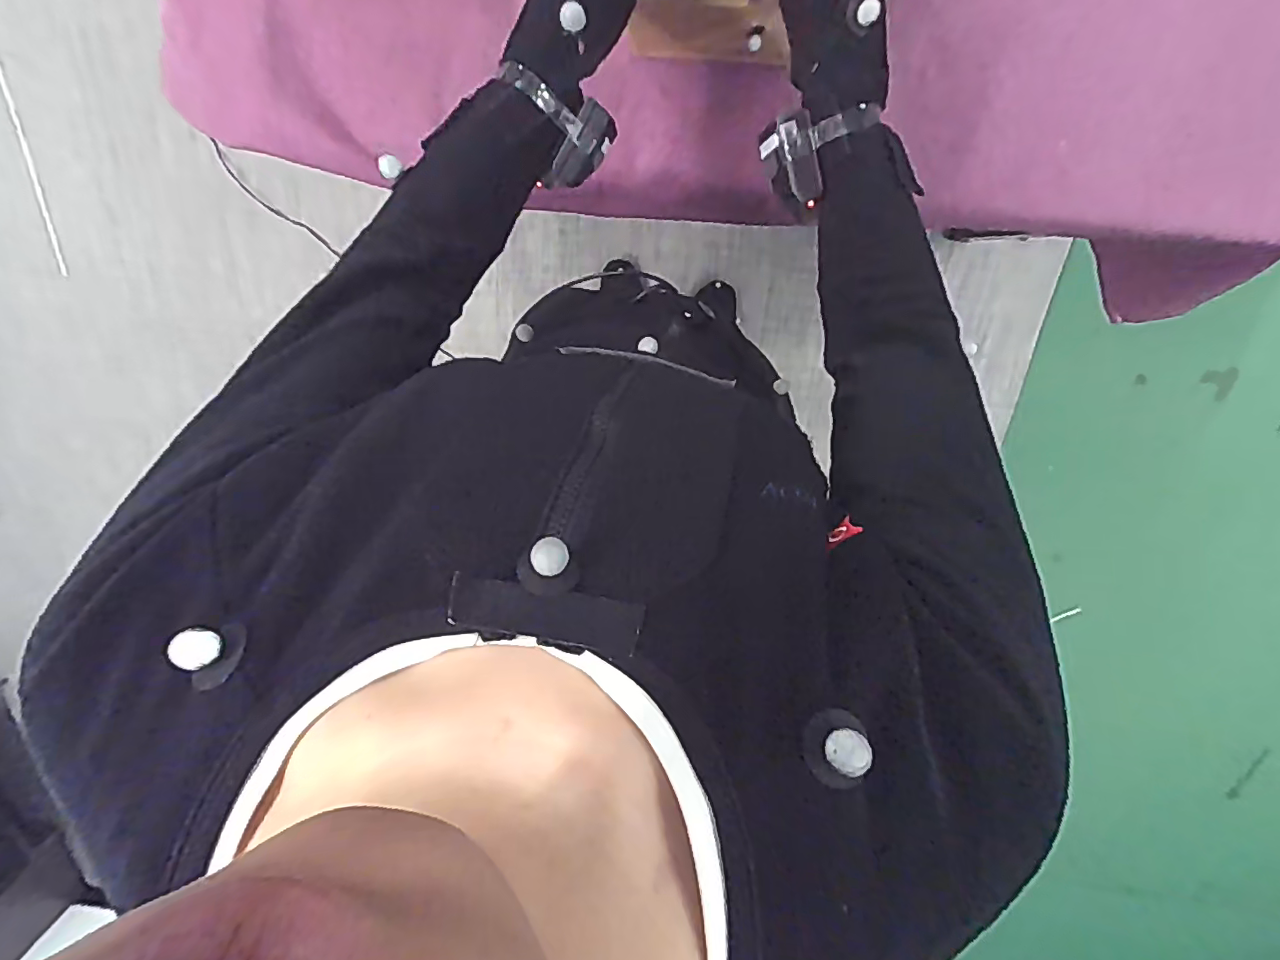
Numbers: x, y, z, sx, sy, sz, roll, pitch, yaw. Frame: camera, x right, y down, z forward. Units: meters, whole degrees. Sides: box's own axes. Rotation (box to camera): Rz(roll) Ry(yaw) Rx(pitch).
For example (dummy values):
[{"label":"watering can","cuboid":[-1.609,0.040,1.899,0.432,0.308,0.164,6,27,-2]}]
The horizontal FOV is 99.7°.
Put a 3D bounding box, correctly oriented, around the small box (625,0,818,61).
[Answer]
[{"label":"small box","cuboid":[0.077,-0.481,0.449,0.168,0.176,0.179,6,112,2]}]
